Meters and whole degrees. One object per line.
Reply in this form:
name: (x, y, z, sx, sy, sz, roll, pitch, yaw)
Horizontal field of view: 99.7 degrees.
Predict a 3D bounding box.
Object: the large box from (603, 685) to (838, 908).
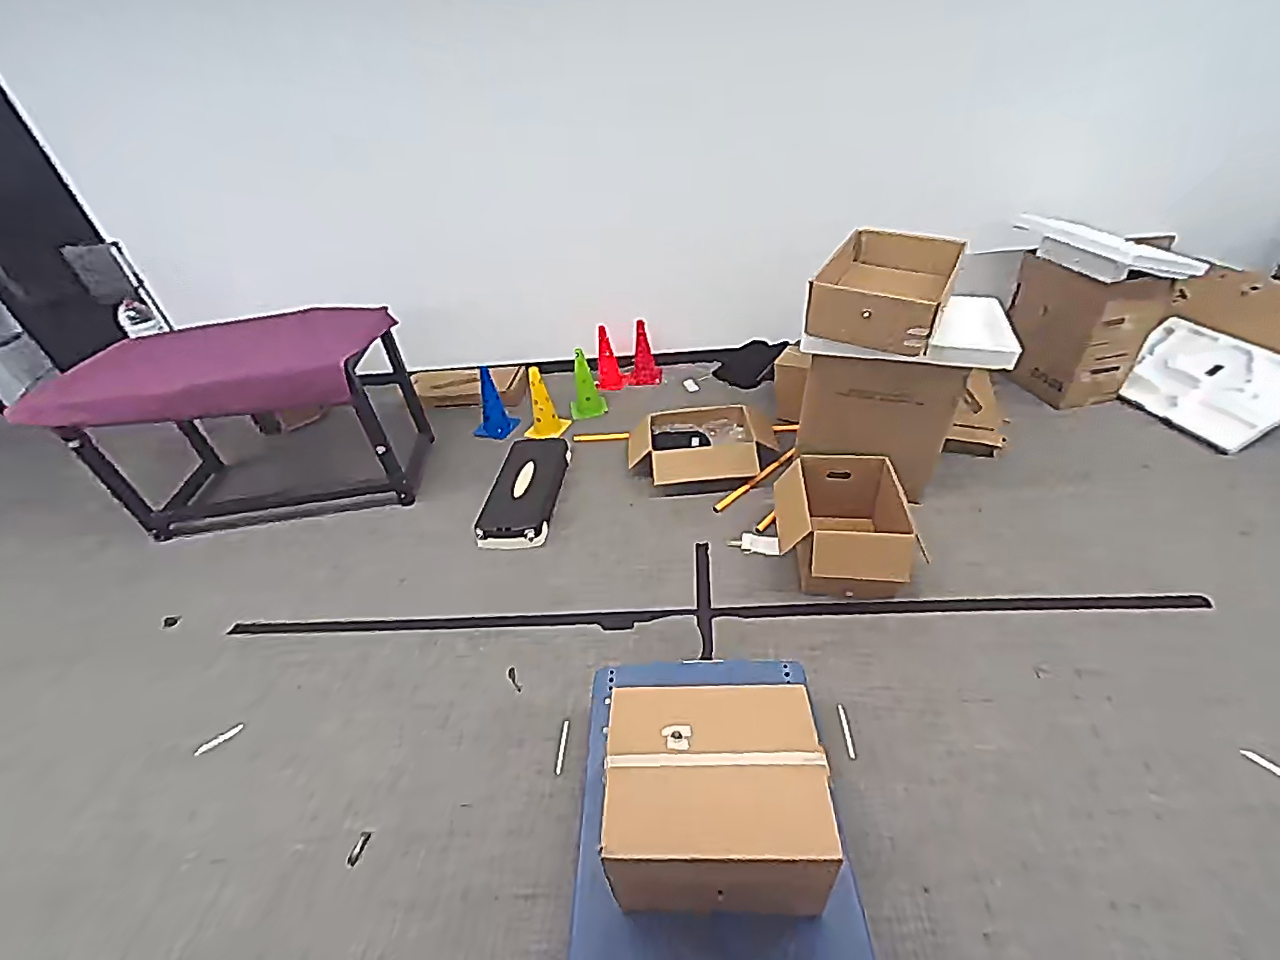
large box: (0.153, 0.657, 1.121, 0.408, 0.320, 0.320, -4, 37, 5)
